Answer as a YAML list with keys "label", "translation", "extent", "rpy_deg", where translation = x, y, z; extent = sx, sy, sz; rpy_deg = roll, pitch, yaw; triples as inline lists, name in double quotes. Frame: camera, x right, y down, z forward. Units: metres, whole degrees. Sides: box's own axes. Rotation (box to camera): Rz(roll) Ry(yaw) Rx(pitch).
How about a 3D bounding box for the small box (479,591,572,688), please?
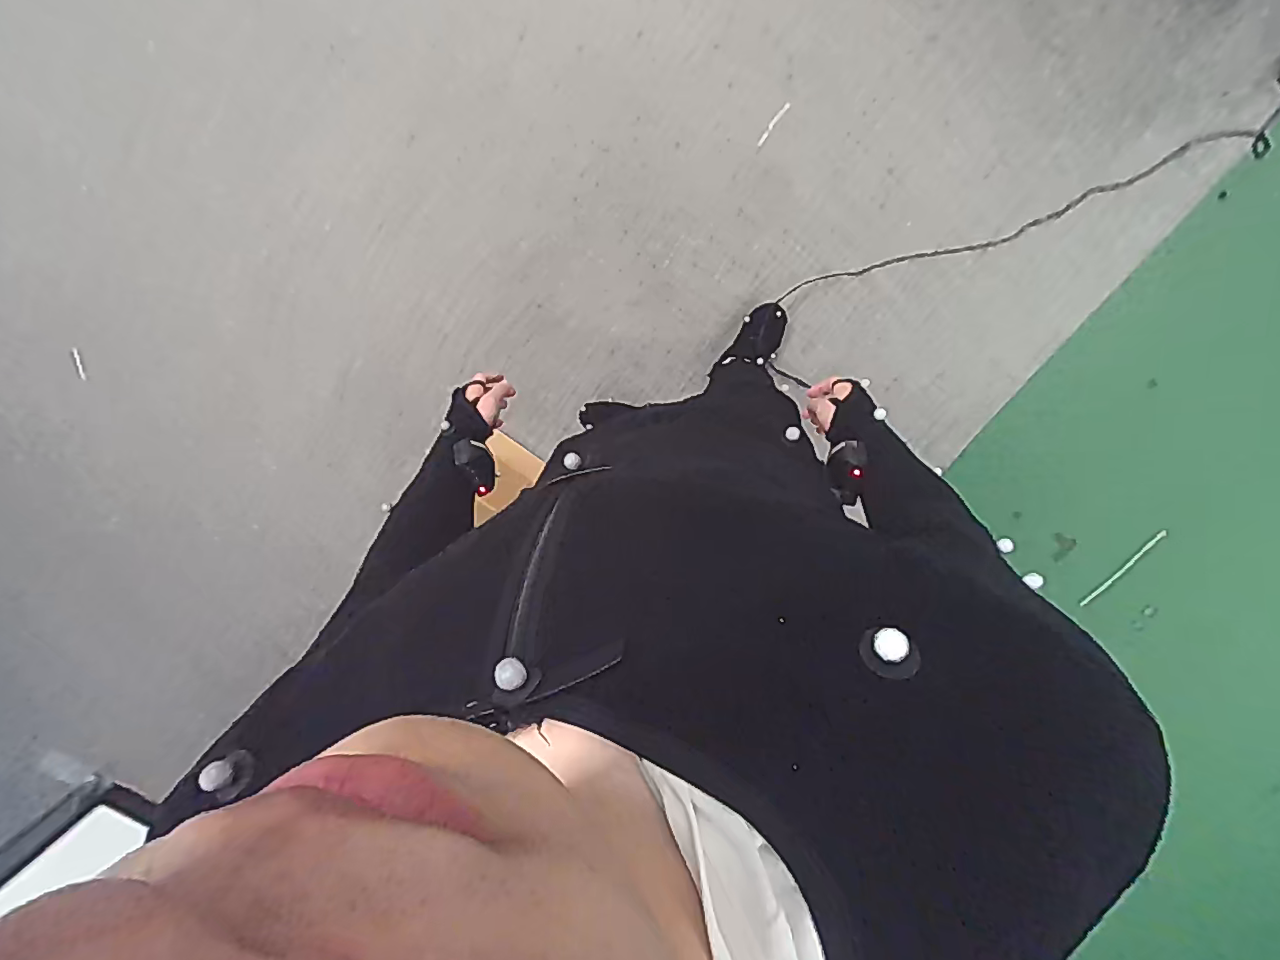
- label: "small box"
  translation: [-0.318, 0.441, 1.531]
  extent: [0.179, 0.176, 0.168]
  rpy_deg: [43, 104, -10]

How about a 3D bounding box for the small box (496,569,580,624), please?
- label: "small box"
  translation: [-0.313, 0.402, 1.692]
  extent: [0.179, 0.176, 0.168]
  rpy_deg: [44, 104, -9]

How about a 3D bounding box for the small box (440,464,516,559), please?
- label: "small box"
  translation: [-0.458, 0.075, 1.438]
  extent: [0.179, 0.176, 0.168]
  rpy_deg: [35, 104, -9]

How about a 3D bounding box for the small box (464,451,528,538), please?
- label: "small box"
  translation: [-0.457, 0.036, 1.594]
  extent: [0.179, 0.176, 0.168]
  rpy_deg: [36, 104, -8]
